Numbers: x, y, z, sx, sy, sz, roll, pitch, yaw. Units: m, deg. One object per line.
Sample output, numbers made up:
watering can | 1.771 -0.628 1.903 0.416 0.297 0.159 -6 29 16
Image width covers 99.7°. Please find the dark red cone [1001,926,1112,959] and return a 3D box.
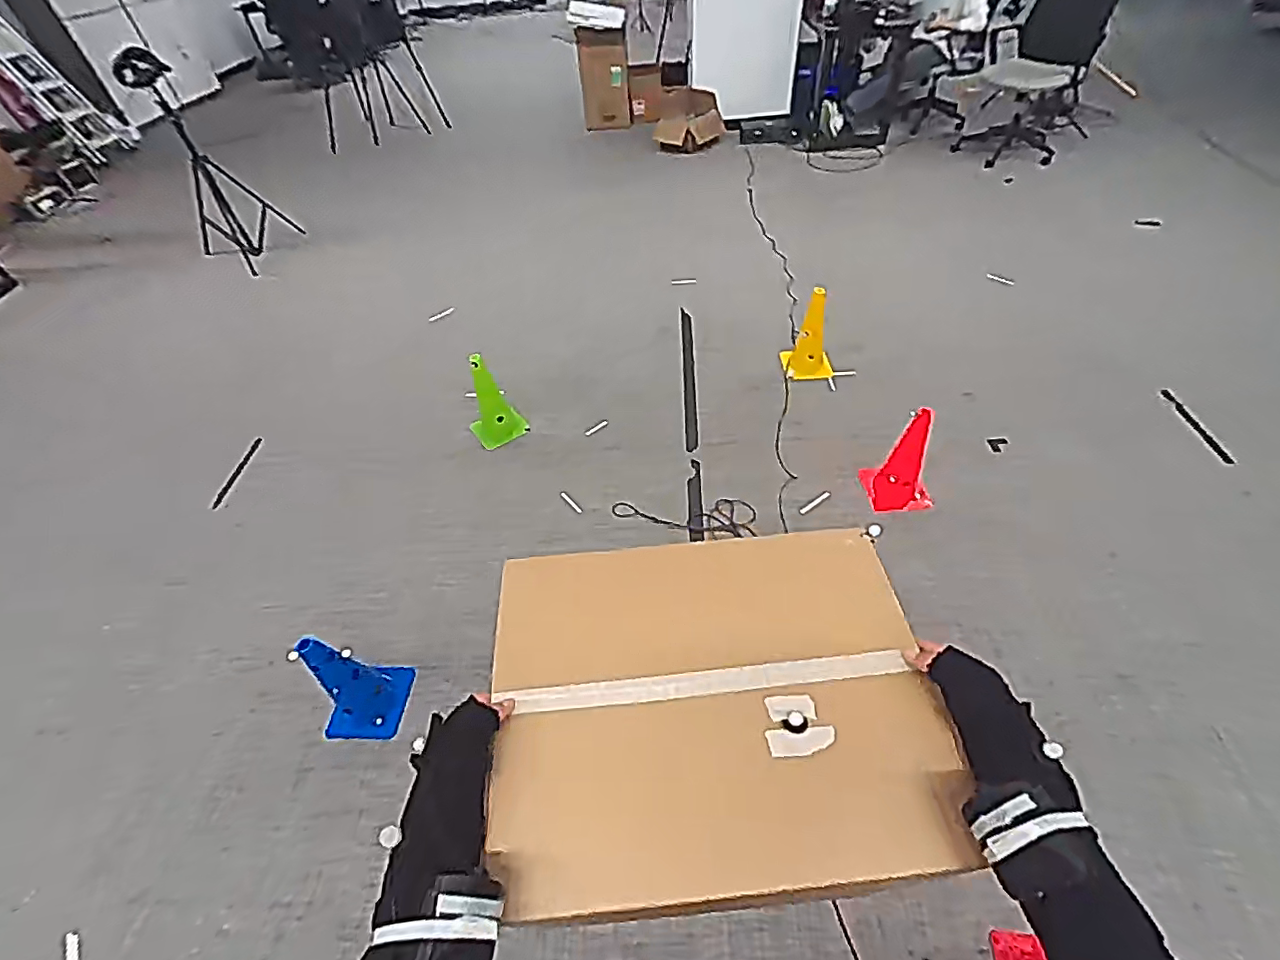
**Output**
dark red cone | 0.780 0.855 0.879 0.201 0.394 0.202 1 48 8

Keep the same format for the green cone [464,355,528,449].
green cone | -0.606 -0.334 2.123 0.202 0.368 0.200 -32 52 -20

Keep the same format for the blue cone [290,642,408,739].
blue cone | -0.772 0.517 1.395 0.192 0.380 0.193 -1 48 7

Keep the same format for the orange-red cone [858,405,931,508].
orange-red cone | 0.869 -0.095 1.762 0.198 0.360 0.199 -4 46 1

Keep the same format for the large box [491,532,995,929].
large box | 0.072 0.289 0.621 0.408 0.320 0.320 -5 50 -2
